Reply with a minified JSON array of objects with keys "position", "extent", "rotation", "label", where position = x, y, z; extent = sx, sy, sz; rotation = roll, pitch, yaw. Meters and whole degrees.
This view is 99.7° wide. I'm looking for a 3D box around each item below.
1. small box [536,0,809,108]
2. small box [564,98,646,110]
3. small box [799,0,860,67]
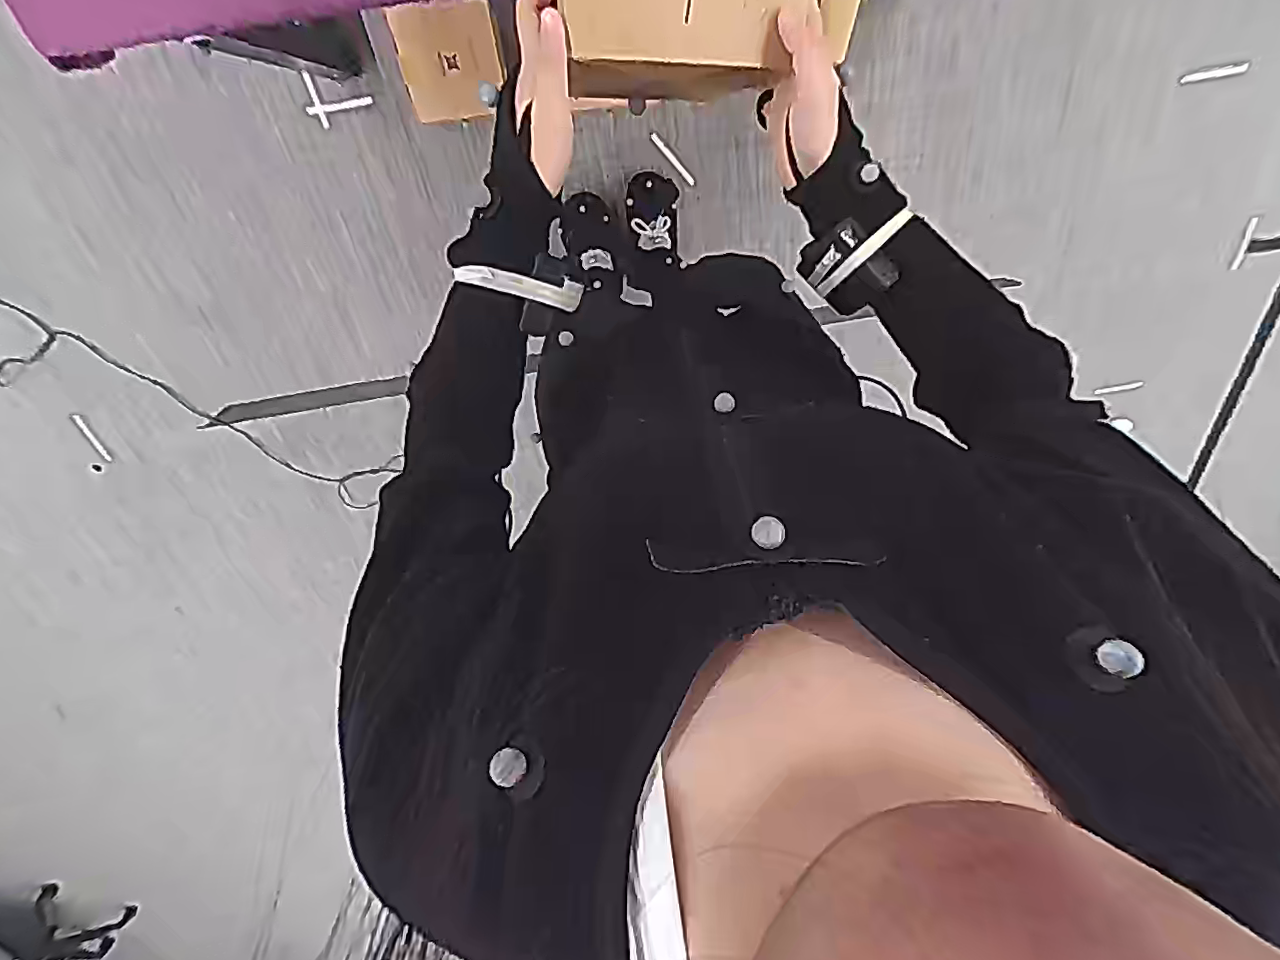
[{"position":[0.013,-0.384,0.384],"extent":[0.168,0.176,0.179],"rotation":[-6,120,-13],"label":"small box"},{"position":[-0.066,-0.819,1.042],"extent":[0.179,0.176,0.168],"rotation":[-7,123,-3],"label":"small box"},{"position":[0.303,-0.910,1.034],"extent":[0.179,0.176,0.168],"rotation":[4,122,-9],"label":"small box"}]
